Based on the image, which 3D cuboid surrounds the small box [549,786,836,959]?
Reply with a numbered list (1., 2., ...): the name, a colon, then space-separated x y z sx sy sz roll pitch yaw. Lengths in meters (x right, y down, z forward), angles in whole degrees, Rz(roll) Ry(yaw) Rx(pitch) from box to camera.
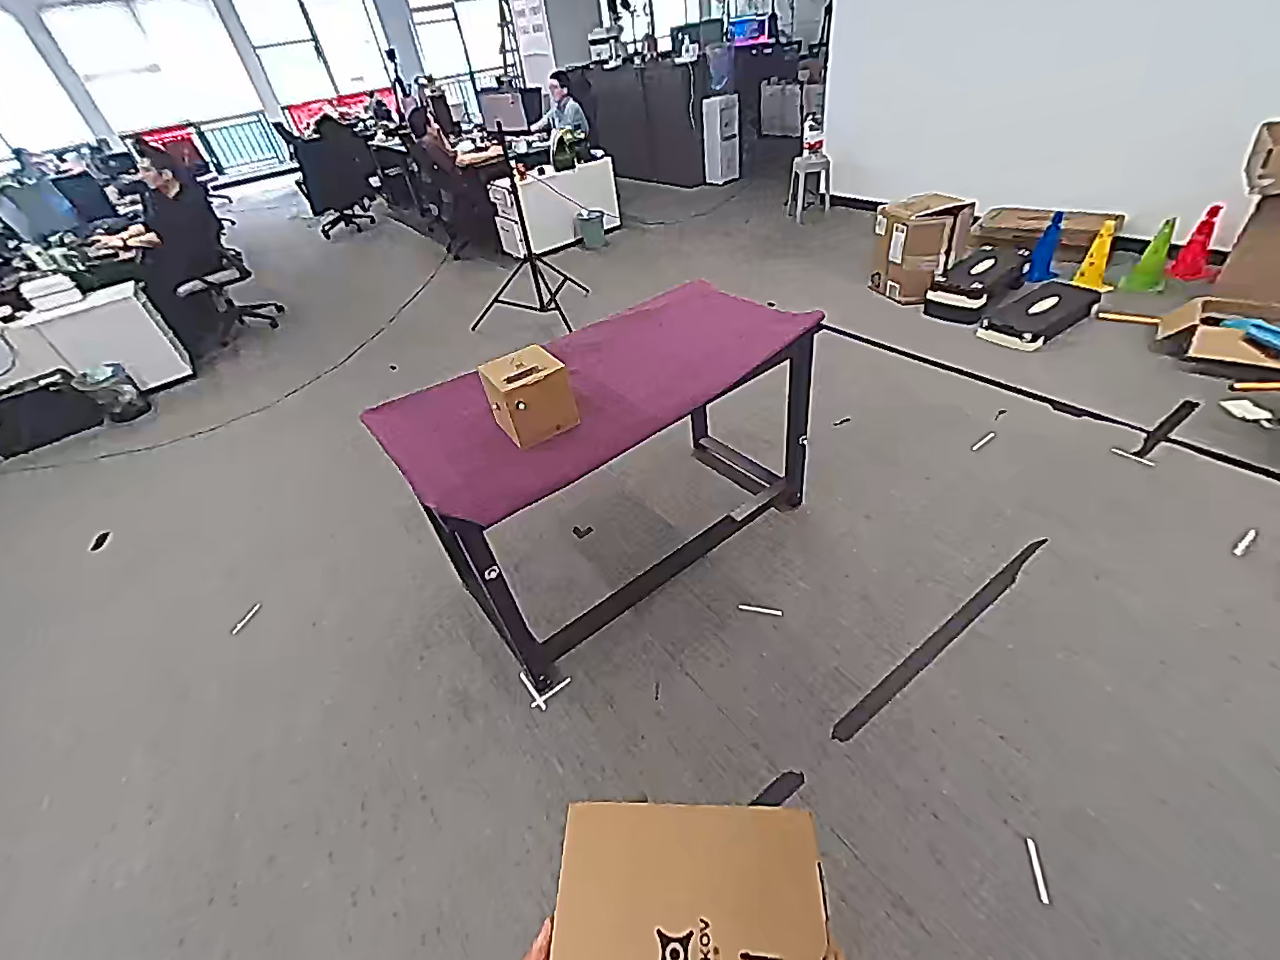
1. small box: 0.040 0.336 0.389 0.179 0.176 0.168 -2 47 7
